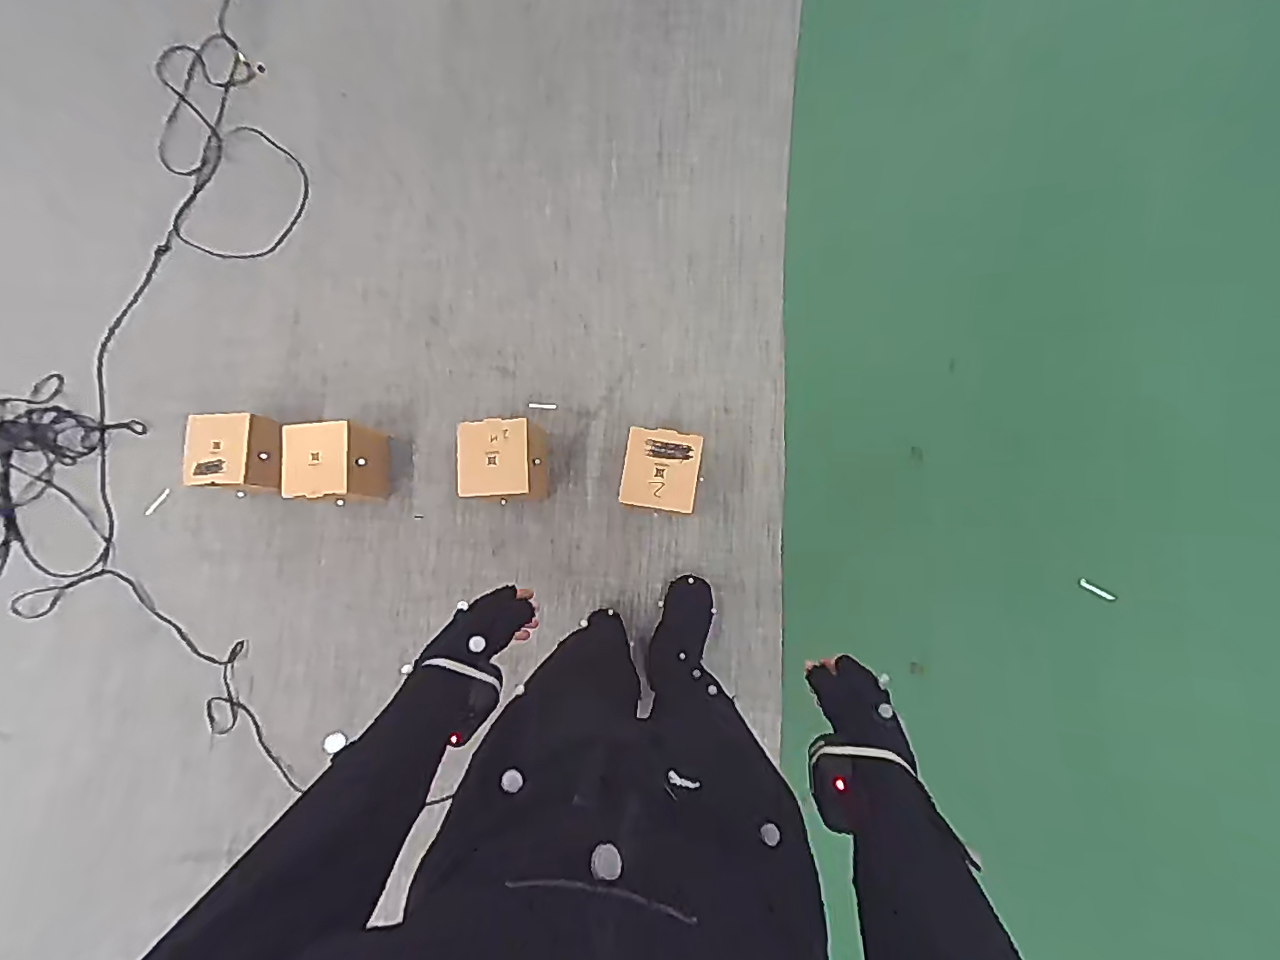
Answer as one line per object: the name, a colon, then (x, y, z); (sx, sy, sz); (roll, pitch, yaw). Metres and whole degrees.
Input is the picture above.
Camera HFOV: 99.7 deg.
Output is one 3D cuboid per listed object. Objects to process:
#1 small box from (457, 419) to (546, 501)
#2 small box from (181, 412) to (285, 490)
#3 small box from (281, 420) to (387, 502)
small box: (-0.325, -0.040, 1.295); (0.168, 0.176, 0.179); (-3, 83, 4)
small box: (-1.002, -0.067, 1.365); (0.168, 0.176, 0.179); (-1, 82, 6)
small box: (-0.749, -0.042, 1.338); (0.168, 0.176, 0.179); (-4, 84, 6)
